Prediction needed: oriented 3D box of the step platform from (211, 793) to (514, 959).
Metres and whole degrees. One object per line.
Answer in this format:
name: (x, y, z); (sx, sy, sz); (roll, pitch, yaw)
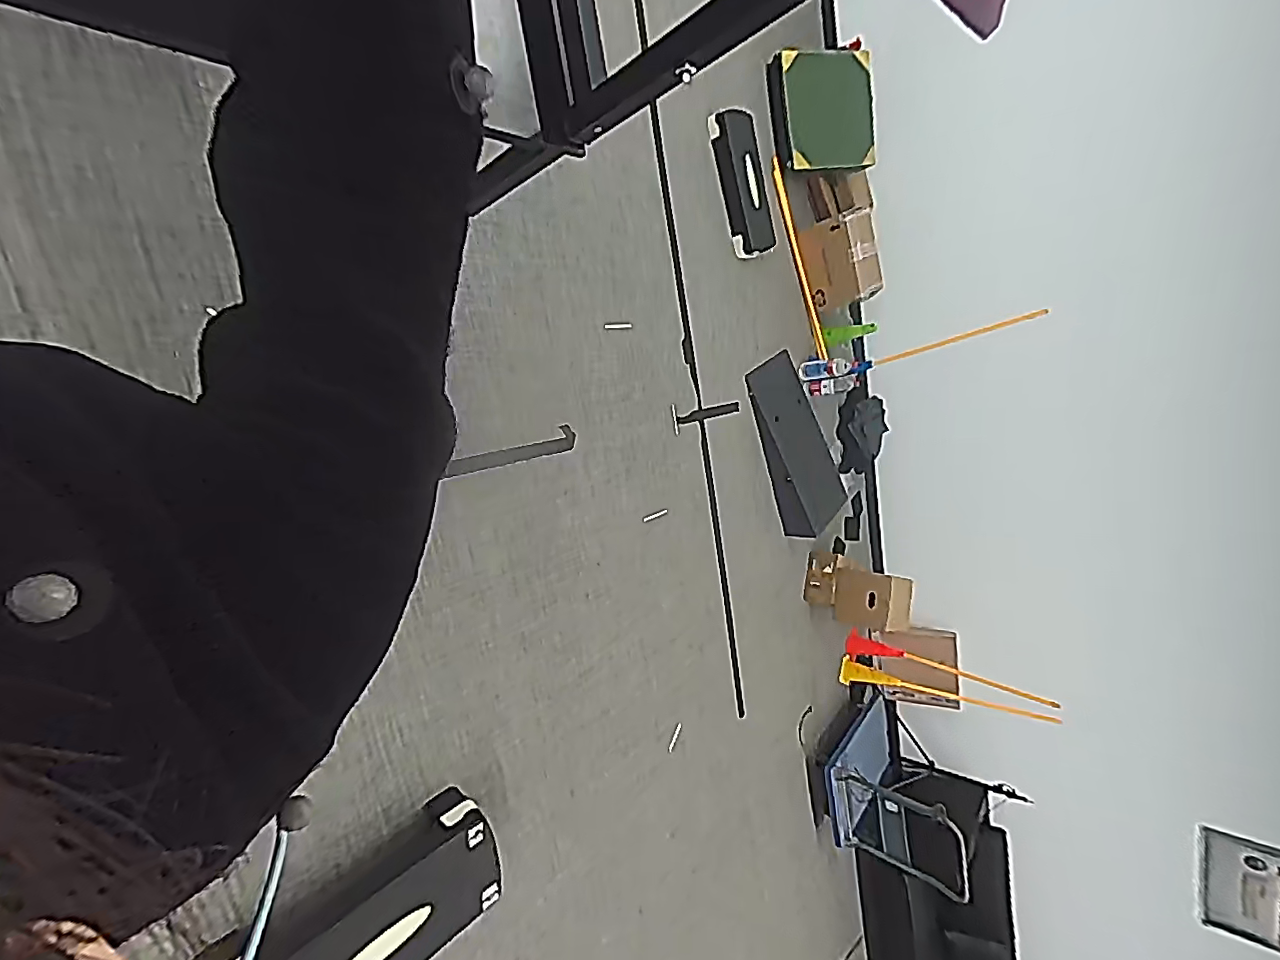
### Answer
step platform: (-0.656, 1.130, 1.391); (0.684, 0.204, 0.286); (-11, 97, -47)
